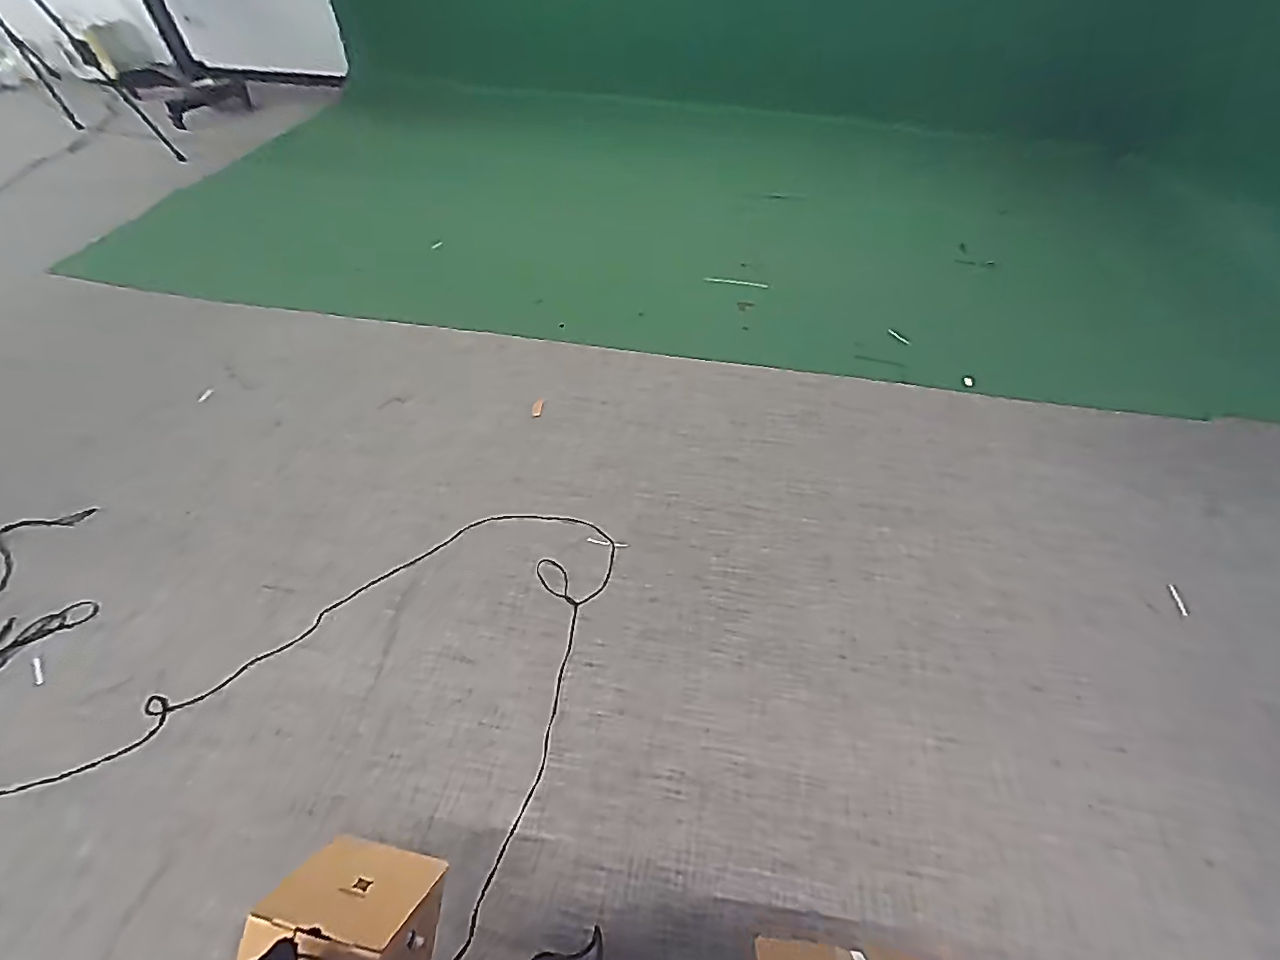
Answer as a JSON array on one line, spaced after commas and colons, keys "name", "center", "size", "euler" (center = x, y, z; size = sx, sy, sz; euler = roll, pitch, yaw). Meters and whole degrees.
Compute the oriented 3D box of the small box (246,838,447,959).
[{"name": "small box", "center": [-0.372, 0.597, 0.676], "size": [0.168, 0.179, 0.176], "euler": [9, 84, 6]}]
